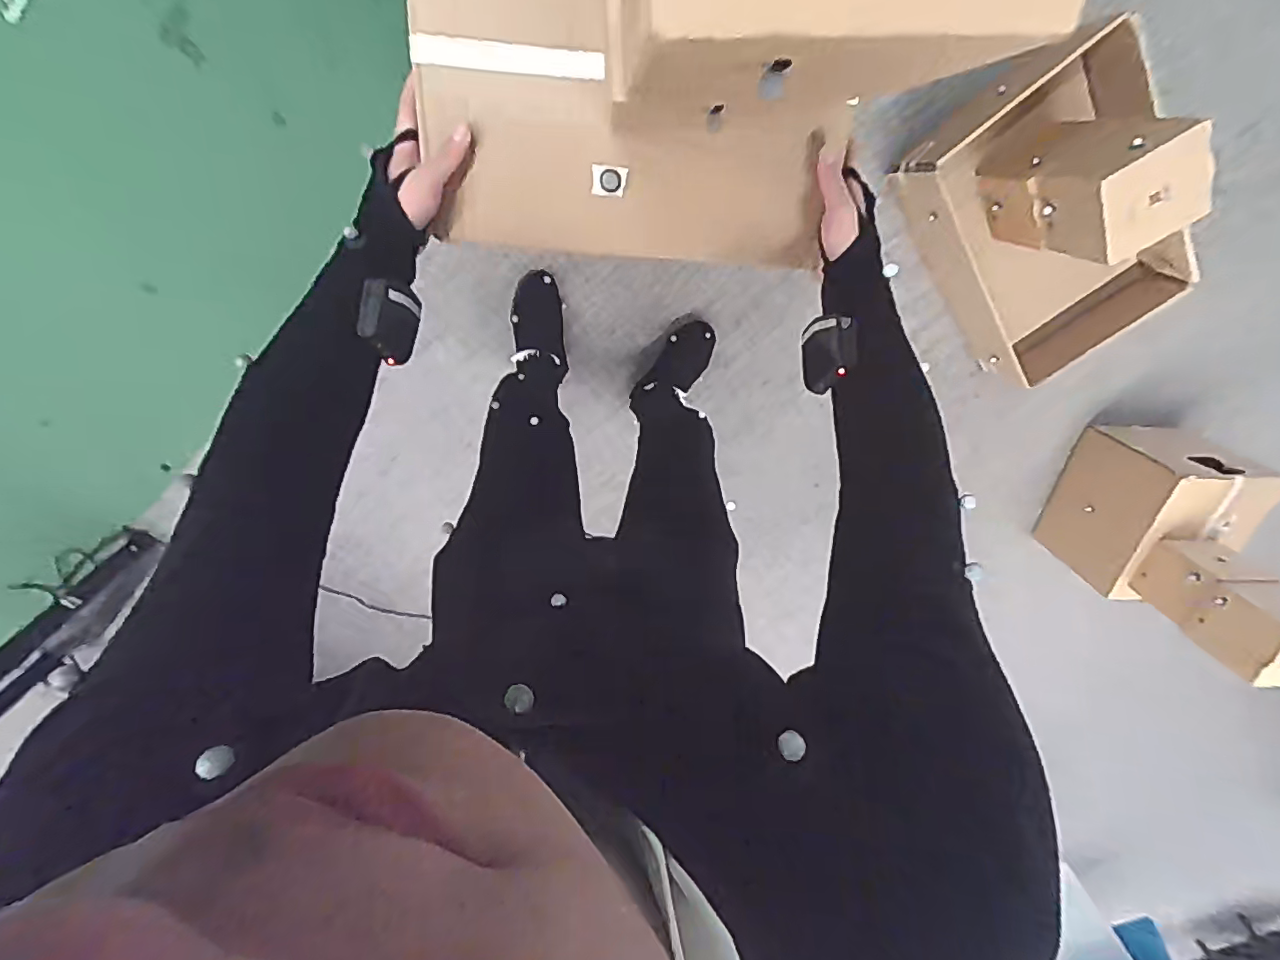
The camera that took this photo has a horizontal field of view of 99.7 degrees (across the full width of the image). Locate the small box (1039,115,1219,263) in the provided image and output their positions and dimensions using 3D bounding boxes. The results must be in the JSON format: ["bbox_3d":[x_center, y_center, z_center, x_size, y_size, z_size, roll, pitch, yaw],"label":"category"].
[{"bbox_3d":[0.882,-0.532,0.986,0.179,0.176,0.168,-30,120,13],"label":"small box"}]

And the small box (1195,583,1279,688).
[{"bbox_3d":[1.458,0.351,1.238,0.179,0.176,0.168,0,120,-6],"label":"small box"}]

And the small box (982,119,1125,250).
[{"bbox_3d":[0.862,-0.617,1.125,0.179,0.176,0.168,-33,121,15],"label":"small box"}]

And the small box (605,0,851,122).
[{"bbox_3d":[0.062,-0.360,0.383,0.179,0.176,0.168,-3,120,-2],"label":"small box"}]

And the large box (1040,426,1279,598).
[{"bbox_3d":[1.468,0.085,1.560,0.320,0.320,0.408,-1,119,-5],"label":"large box"}]

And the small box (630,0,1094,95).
[{"bbox_3d":[0.083,-0.282,0.240,0.179,0.176,0.168,-2,119,-2],"label":"small box"}]
